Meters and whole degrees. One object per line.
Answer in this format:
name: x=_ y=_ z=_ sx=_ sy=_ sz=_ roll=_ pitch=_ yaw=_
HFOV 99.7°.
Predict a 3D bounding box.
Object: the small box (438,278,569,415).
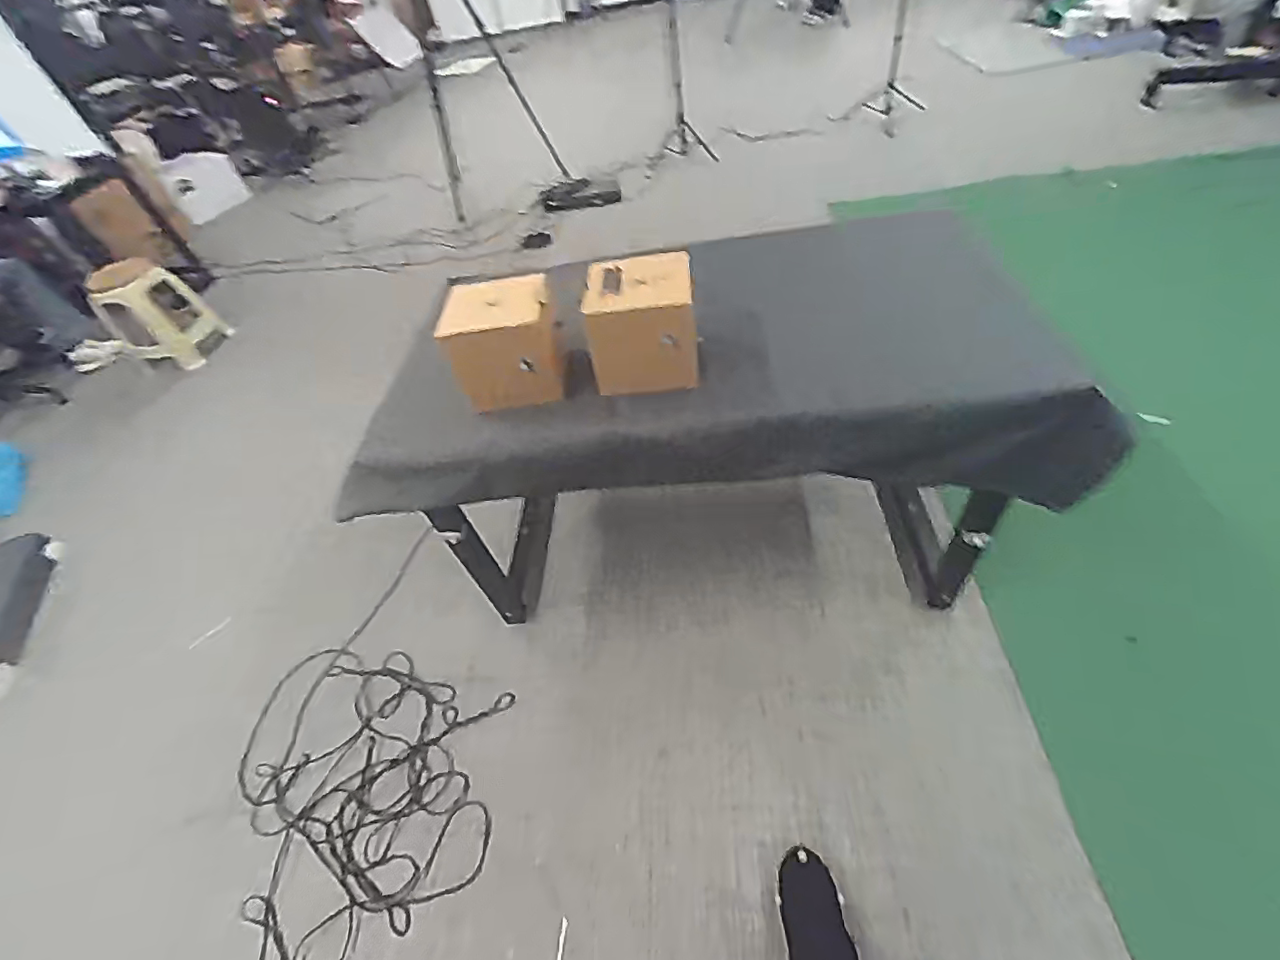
small box: x=-0.234 y=-0.239 z=0.982 sx=0.179 sy=0.176 sz=0.168 roll=-8 pitch=46 yaw=5
